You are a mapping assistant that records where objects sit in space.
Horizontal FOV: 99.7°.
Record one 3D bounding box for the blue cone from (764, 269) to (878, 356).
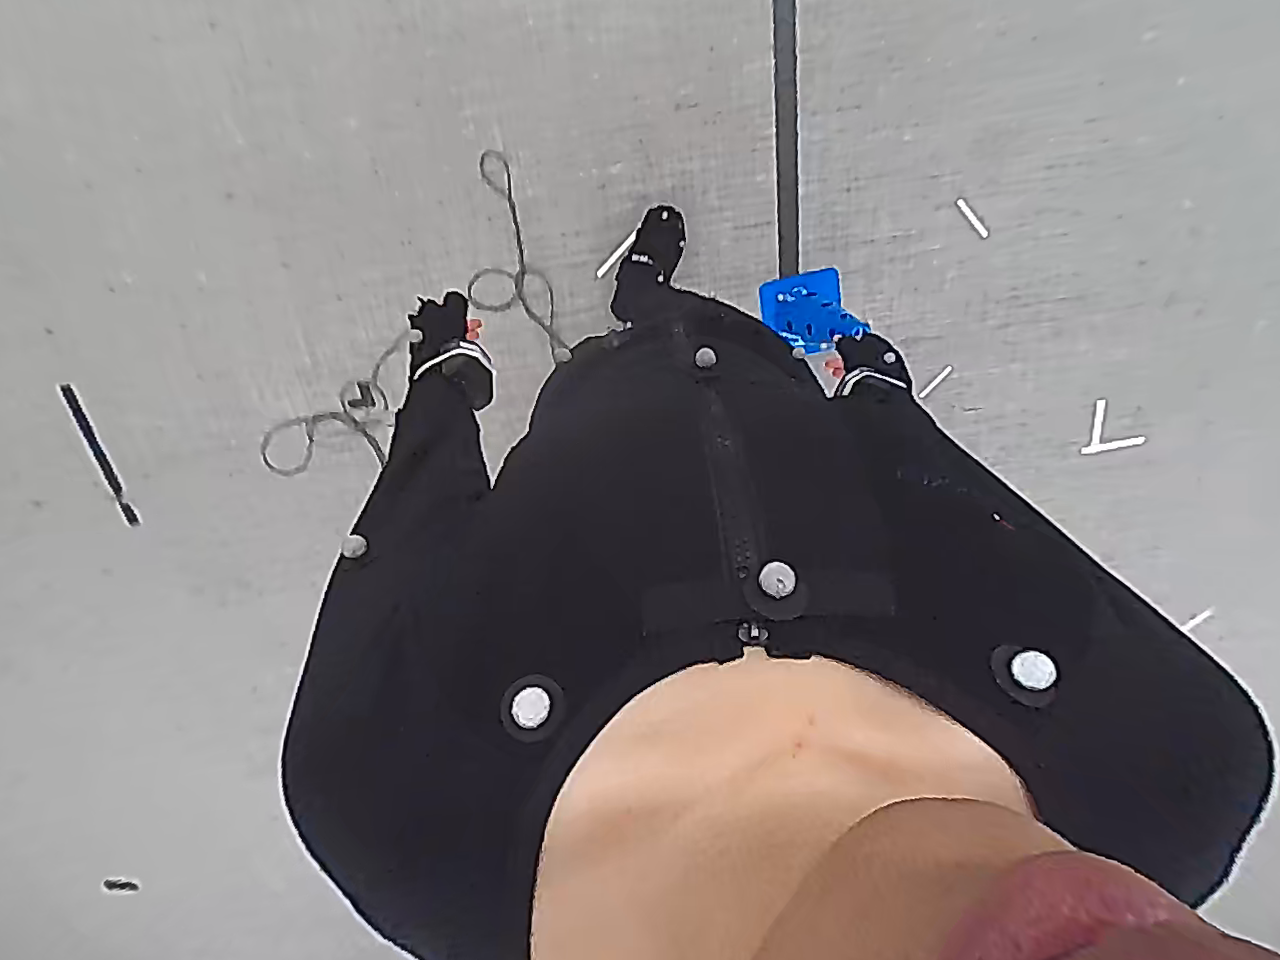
[{"bbox_3d":[0.421,-0.358,1.214,0.192,0.380,0.193,-12,112,1],"label":"blue cone"}]
